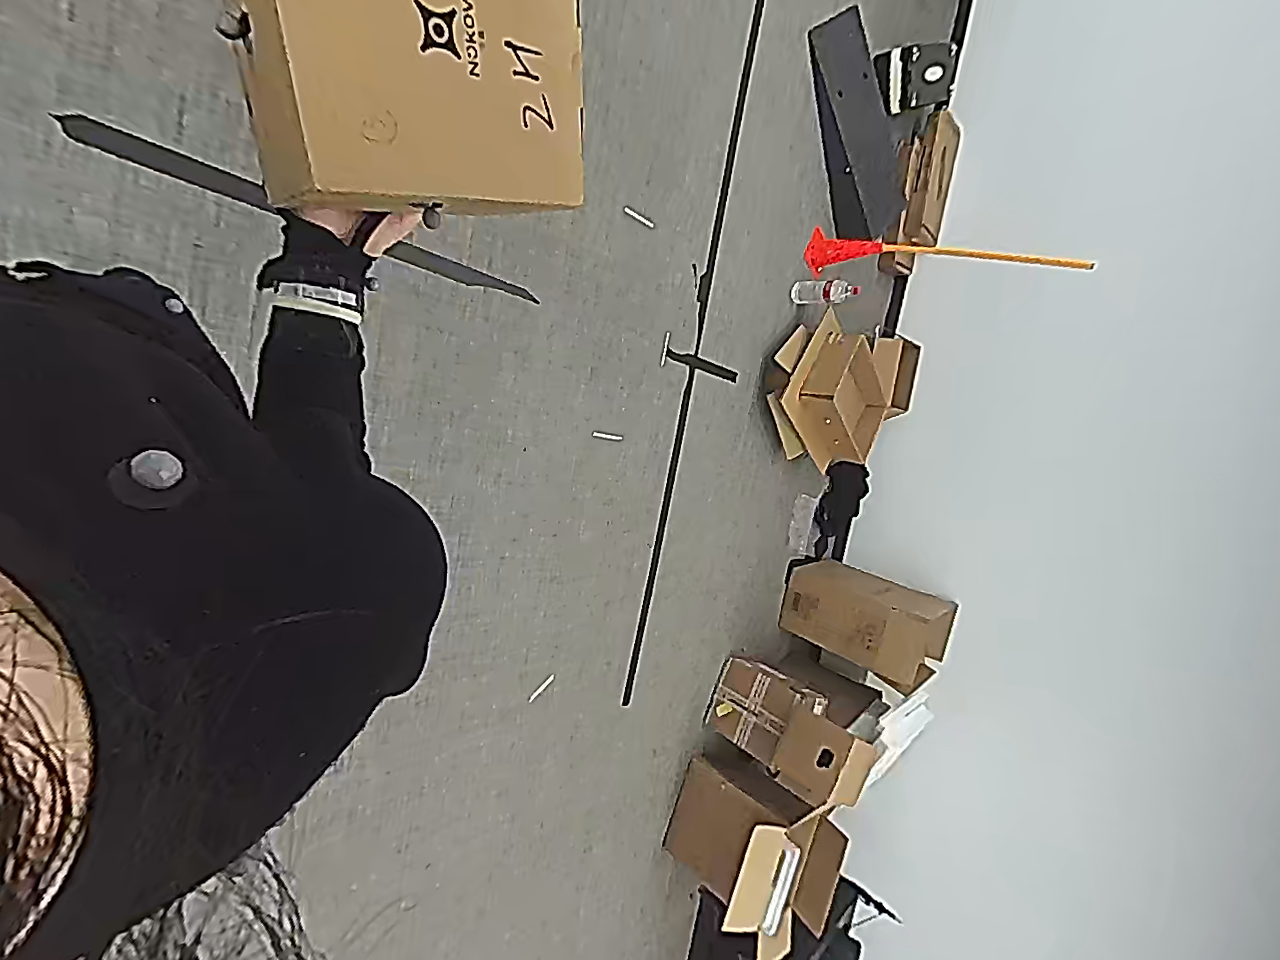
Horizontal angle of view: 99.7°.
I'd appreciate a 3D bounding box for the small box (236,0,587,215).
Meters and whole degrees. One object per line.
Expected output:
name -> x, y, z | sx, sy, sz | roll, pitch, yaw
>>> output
small box -> -0.156, -0.277, 0.368 | 0.179, 0.176, 0.168 | -18, 120, -36
